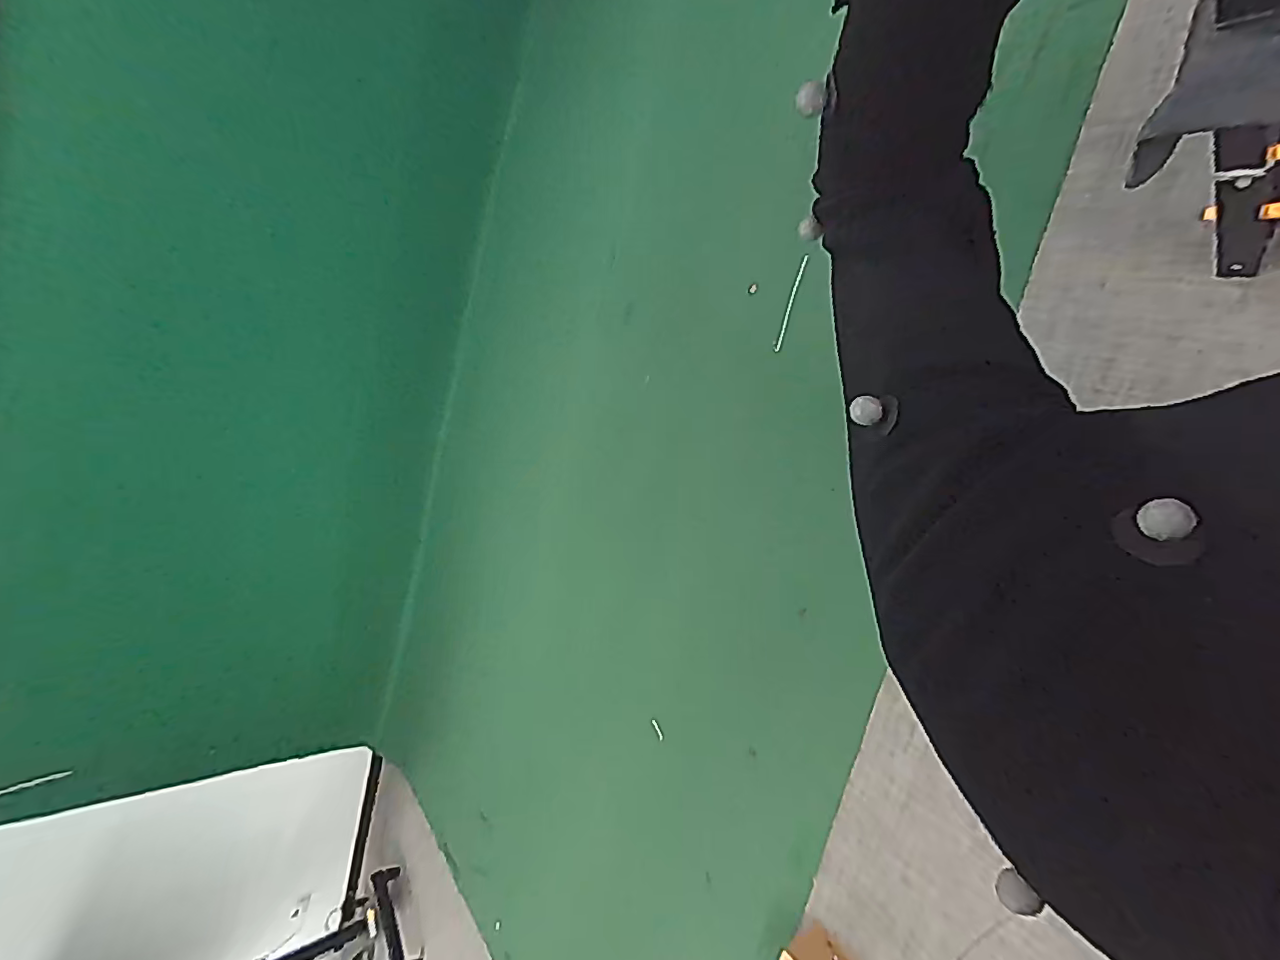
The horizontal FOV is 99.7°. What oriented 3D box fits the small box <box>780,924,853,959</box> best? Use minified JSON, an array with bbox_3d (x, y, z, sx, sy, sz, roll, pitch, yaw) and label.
[{"bbox_3d":[0.469,1.355,1.442,0.168,0.176,0.179,23,101,45],"label":"small box"}]
